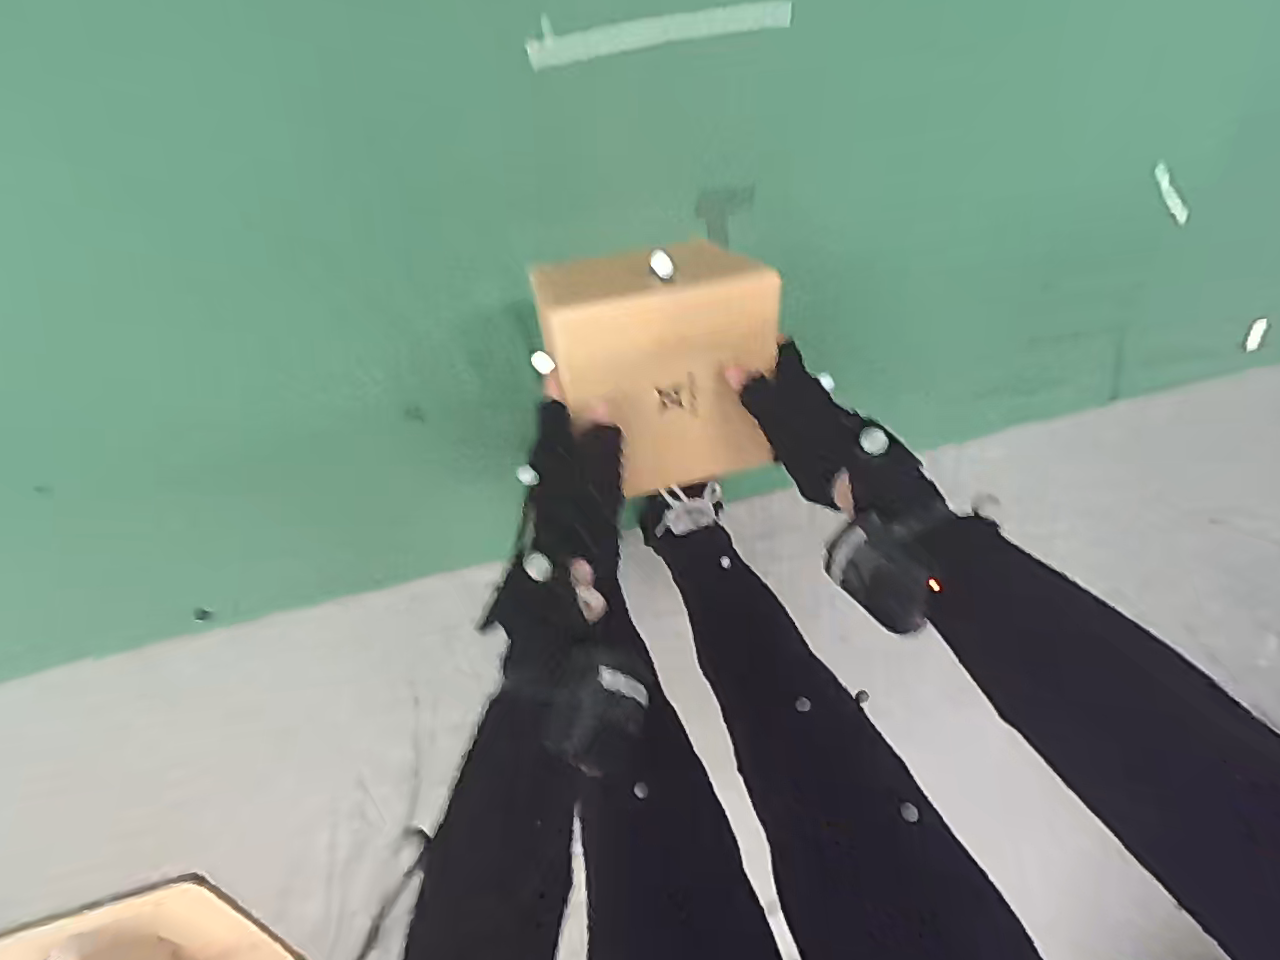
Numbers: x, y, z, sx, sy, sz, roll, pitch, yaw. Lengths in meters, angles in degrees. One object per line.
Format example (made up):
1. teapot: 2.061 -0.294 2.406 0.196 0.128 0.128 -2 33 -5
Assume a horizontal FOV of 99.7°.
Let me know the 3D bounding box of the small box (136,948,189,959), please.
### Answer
1. small box: -1.046 1.117 1.108 0.179 0.176 0.168 -17 118 -3
